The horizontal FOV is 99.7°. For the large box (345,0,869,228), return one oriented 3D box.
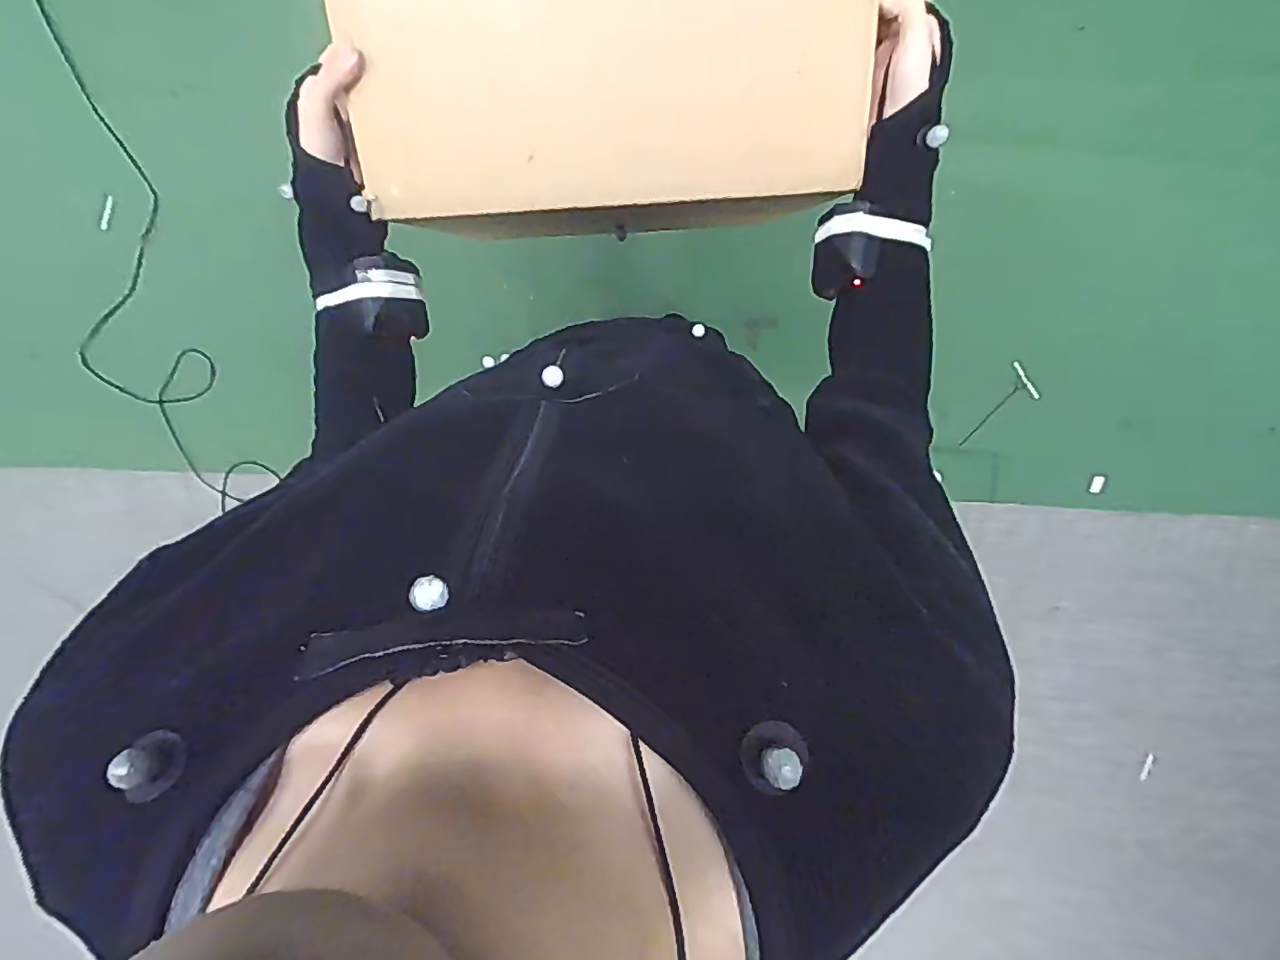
[{"bbox_3d":[-0.025,-0.438,0.538,0.408,0.320,0.320,-3,111,1],"label":"large box"}]
